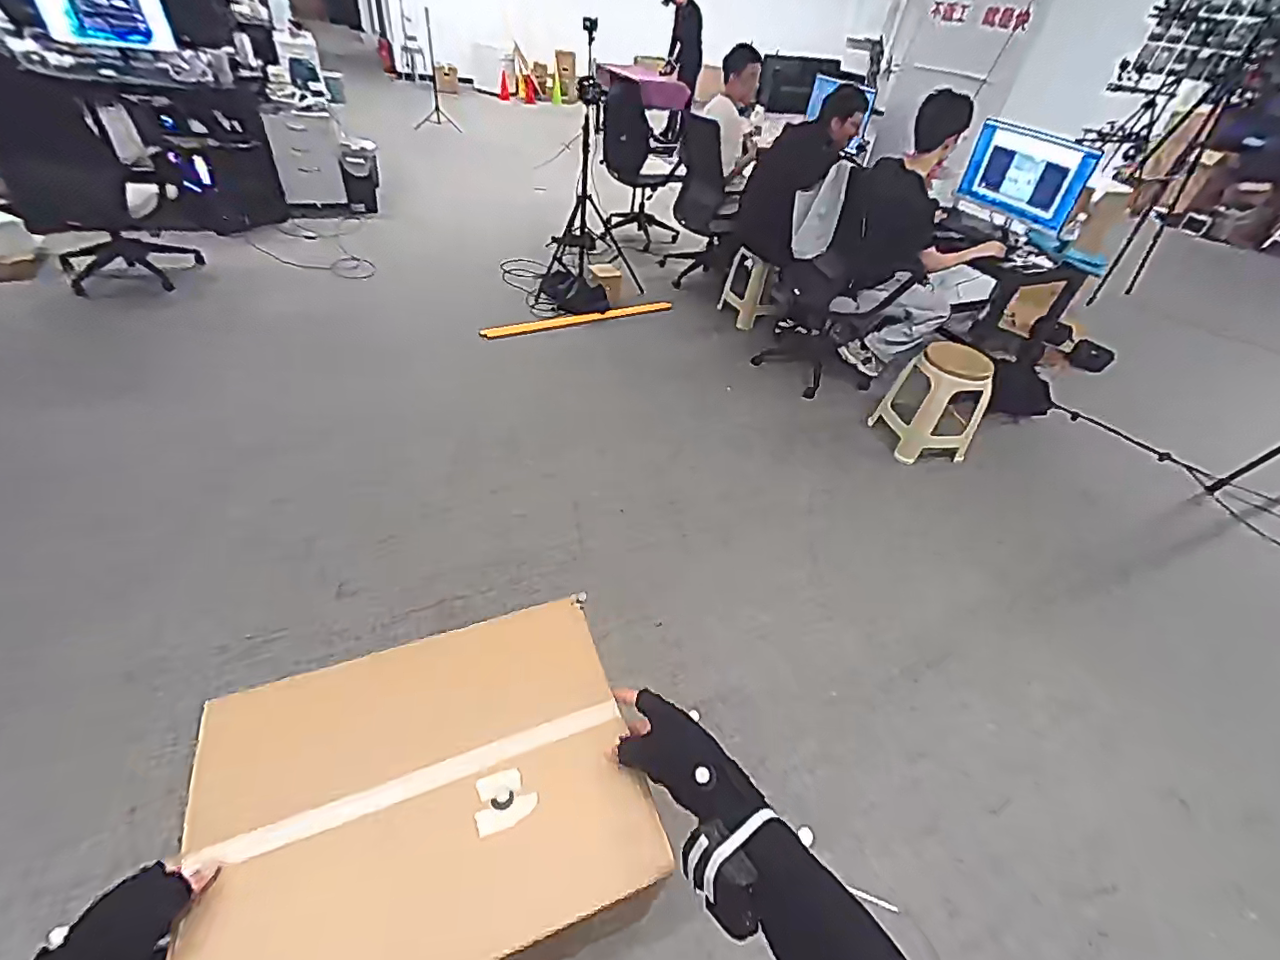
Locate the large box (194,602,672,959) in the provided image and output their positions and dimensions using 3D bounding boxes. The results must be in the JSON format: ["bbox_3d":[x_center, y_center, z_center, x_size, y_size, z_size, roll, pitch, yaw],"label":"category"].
[{"bbox_3d":[-0.219,0.408,0.649,0.408,0.320,0.320,-12,48,-19],"label":"large box"}]
